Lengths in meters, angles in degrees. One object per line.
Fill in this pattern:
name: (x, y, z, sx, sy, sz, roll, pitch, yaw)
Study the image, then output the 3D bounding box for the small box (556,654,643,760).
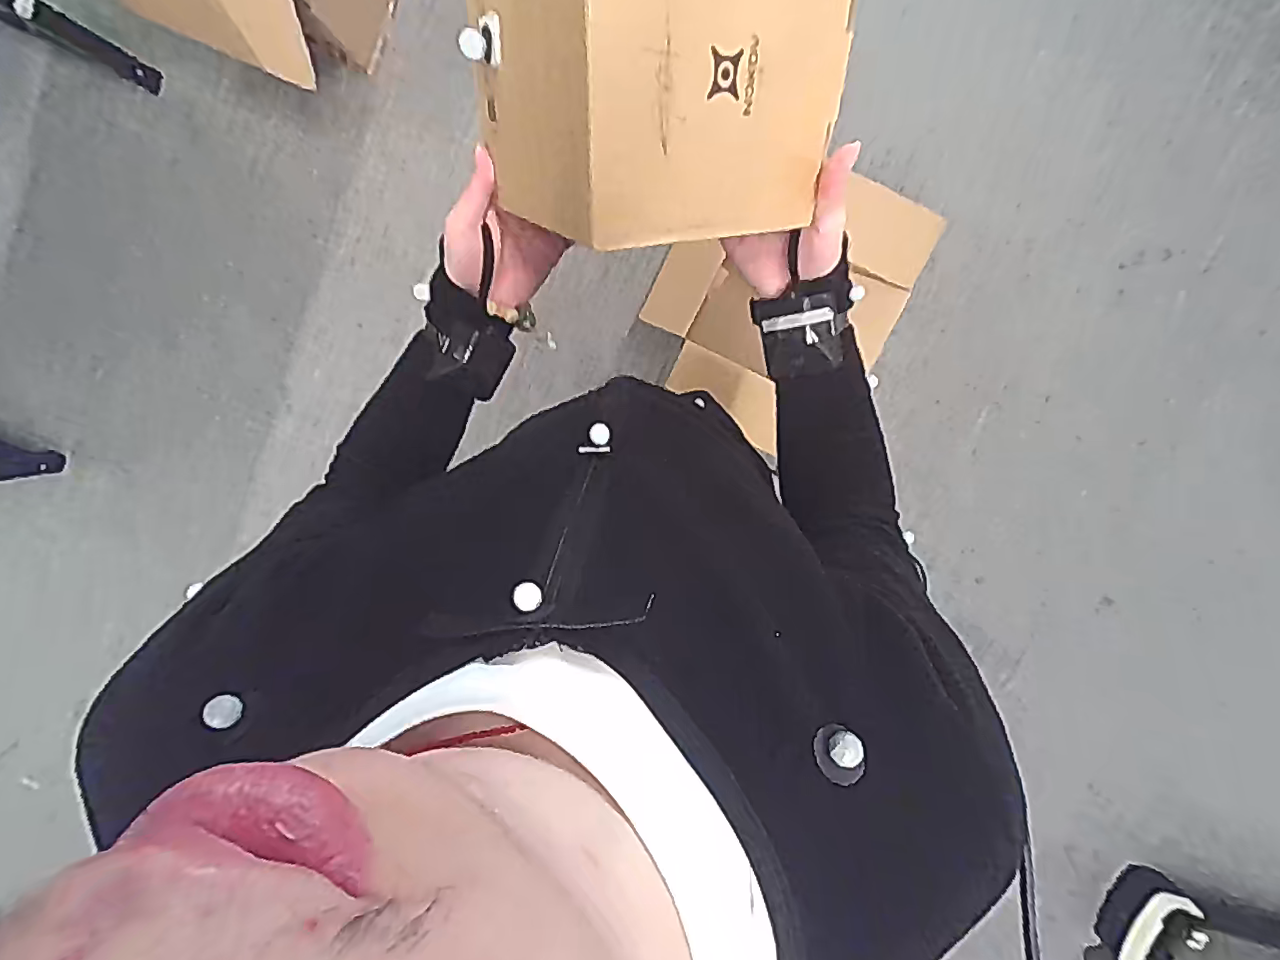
small box: (-0.098, 0.574, 1.388, 0.179, 0.176, 0.168, 17, 99, -2)

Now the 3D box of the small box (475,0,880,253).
small box: (0.014, -0.251, 0.331, 0.179, 0.176, 0.168, -19, 130, -26)
